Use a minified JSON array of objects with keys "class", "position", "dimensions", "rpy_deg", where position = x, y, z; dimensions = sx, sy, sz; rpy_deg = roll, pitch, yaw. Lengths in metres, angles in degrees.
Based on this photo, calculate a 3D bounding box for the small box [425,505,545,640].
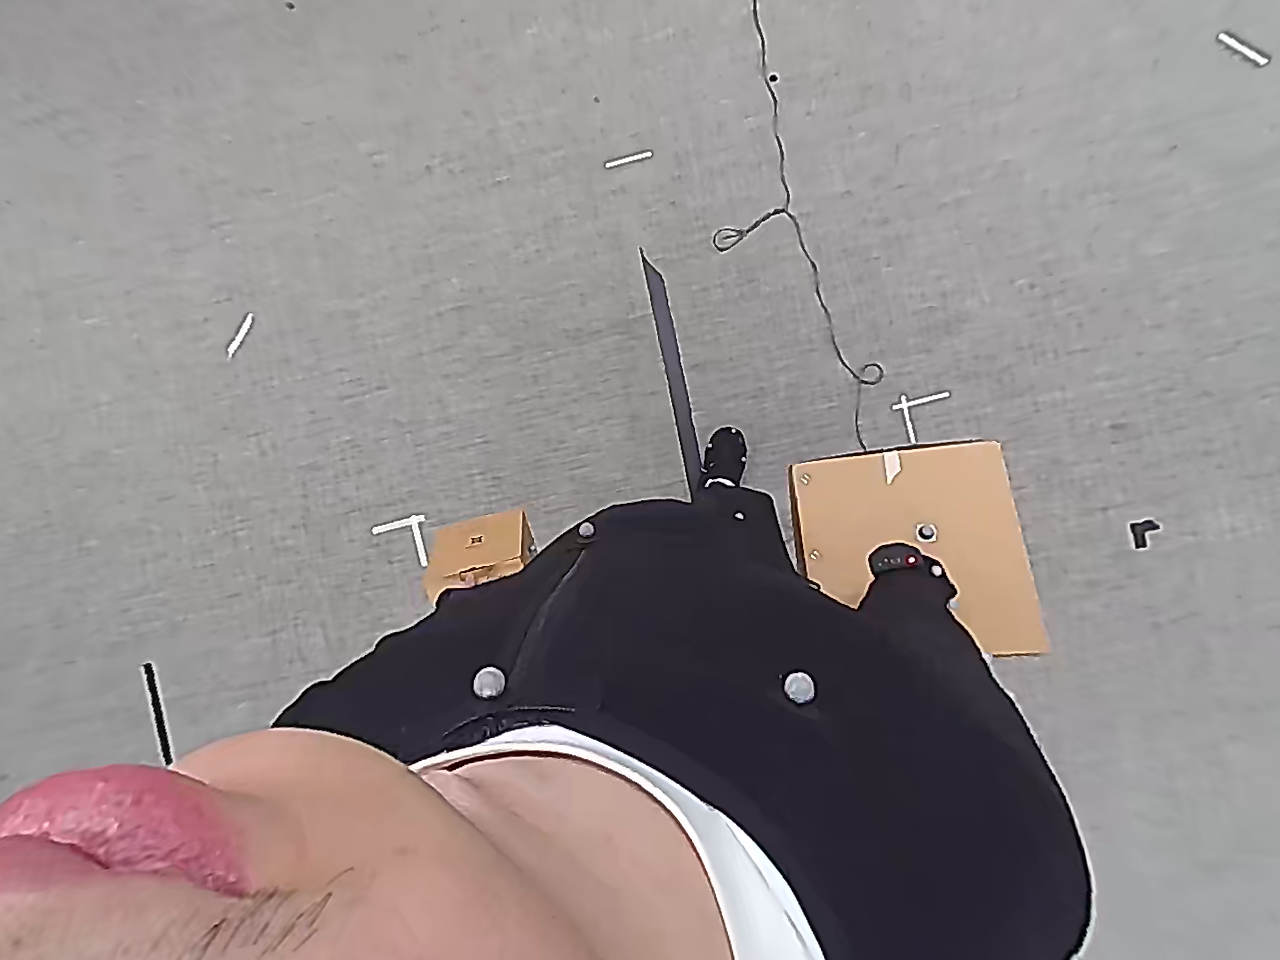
[{"class":"small box","position":[-0.276,0.175,1.006],"dimensions":[0.168,0.179,0.176],"rpy_deg":[-13,118,-4]}]
